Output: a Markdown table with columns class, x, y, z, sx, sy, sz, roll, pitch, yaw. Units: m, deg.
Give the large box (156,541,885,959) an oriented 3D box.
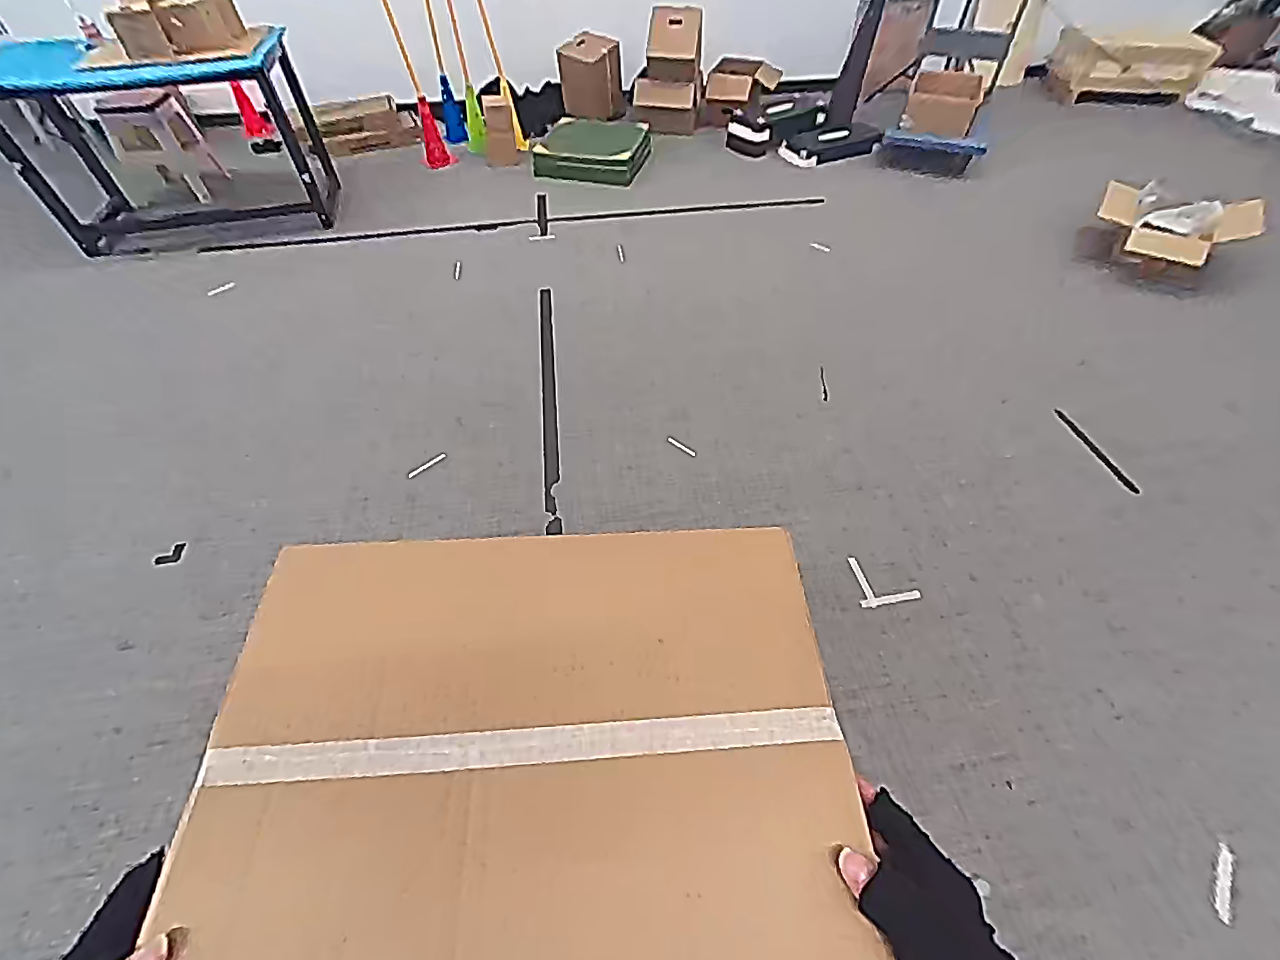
| class | x | y | z | sx | sy | sz | roll | pitch | yaw |
| --- | --- | --- | --- | --- | --- | --- | --- | --- | --- |
| large box | -0.073 | 0.271 | 0.475 | 0.408 | 0.320 | 0.320 | -2 | 53 | -4 |
